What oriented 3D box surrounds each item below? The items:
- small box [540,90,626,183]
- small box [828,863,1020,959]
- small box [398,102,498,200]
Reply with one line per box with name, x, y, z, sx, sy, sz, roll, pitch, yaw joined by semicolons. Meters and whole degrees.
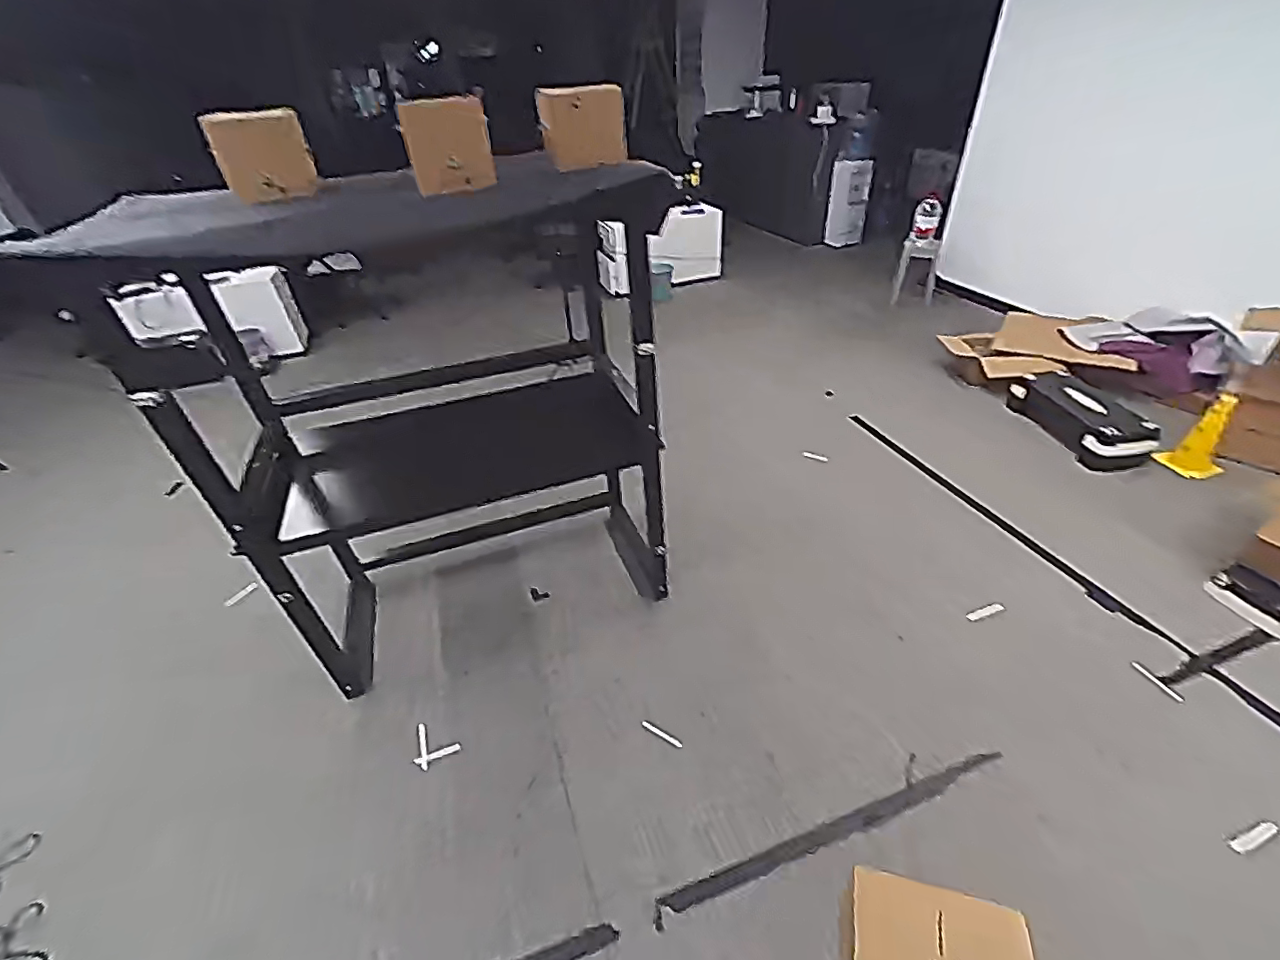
small box;-0.136;-0.814;1.284;0.168;0.176;0.179;-13;37;-10
small box;0.285;0.547;0.556;0.168;0.176;0.179;5;36;17
small box;-0.422;-0.732;1.205;0.168;0.176;0.179;-14;37;-11
